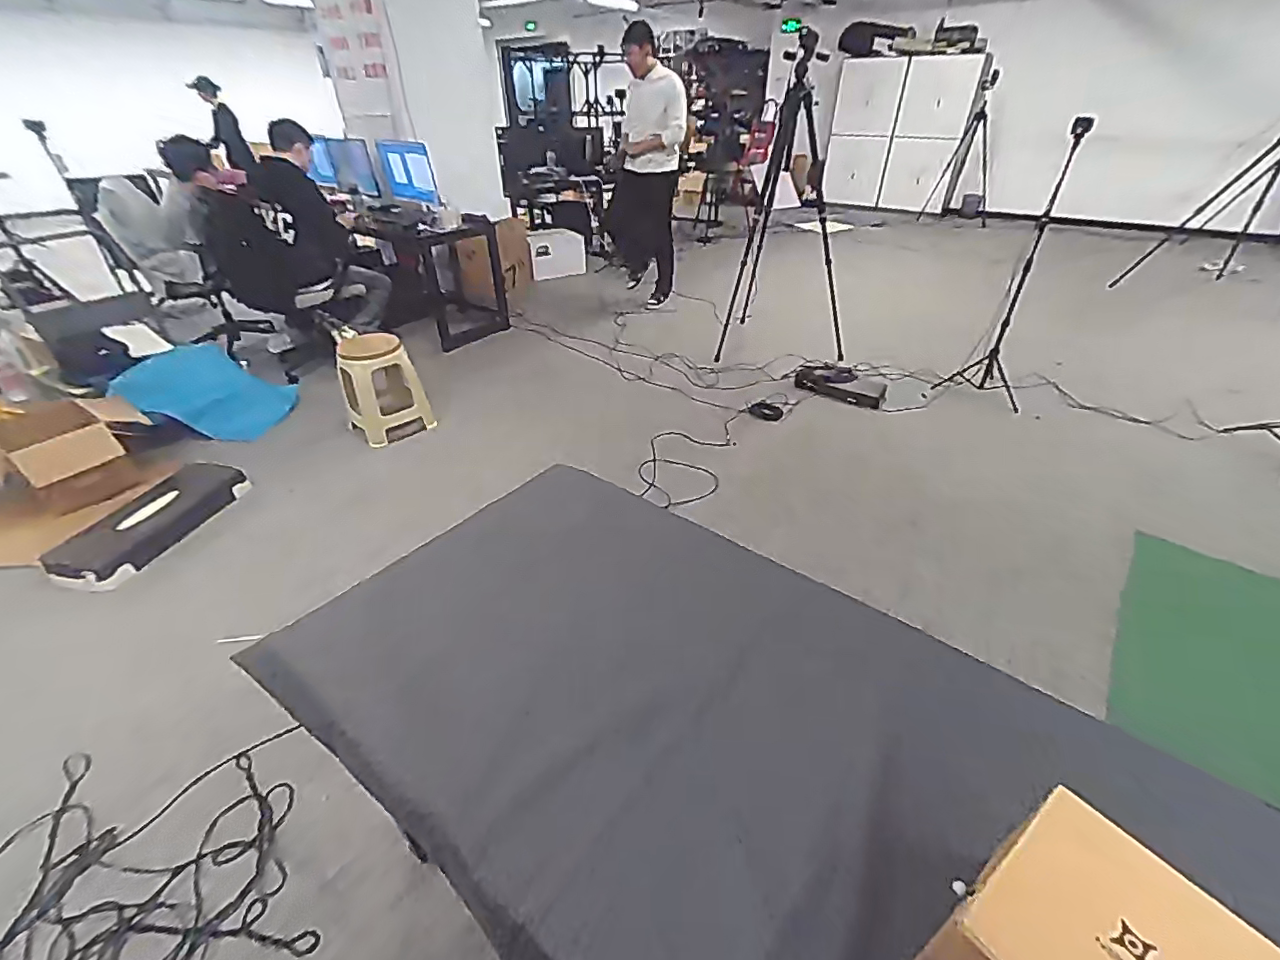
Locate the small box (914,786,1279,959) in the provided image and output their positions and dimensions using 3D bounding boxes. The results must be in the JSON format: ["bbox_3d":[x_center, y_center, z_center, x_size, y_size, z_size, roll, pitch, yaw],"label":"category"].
[{"bbox_3d":[0.356,0.406,0.441,0.179,0.176,0.168,-24,42,-29],"label":"small box"}]
